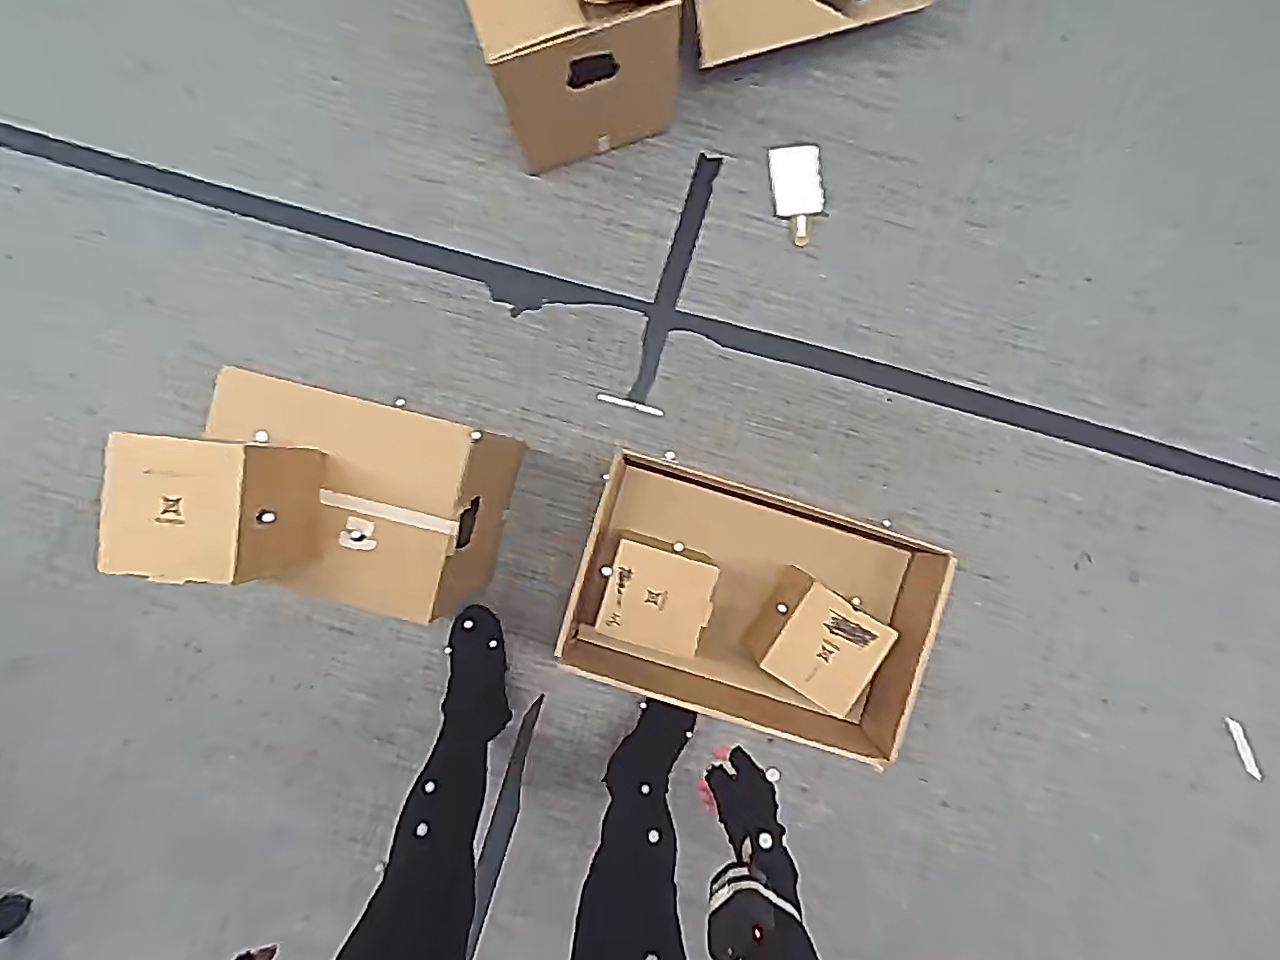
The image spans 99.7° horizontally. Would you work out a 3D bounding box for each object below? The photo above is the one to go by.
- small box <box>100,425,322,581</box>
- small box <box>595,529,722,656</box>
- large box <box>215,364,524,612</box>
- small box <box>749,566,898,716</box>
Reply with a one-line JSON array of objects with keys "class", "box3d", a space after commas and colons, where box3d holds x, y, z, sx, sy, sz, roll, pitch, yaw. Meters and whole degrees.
[{"class": "small box", "box3d": [-0.560, 0.027, 0.729, 0.168, 0.176, 0.179, 6, 91, 0]}, {"class": "small box", "box3d": [0.029, 0.193, 0.978, 0.179, 0.176, 0.168, 17, 89, -1]}, {"class": "large box", "box3d": [-0.466, 0.011, 0.970, 0.408, 0.320, 0.320, 13, 92, 0]}, {"class": "small box", "box3d": [0.316, 0.276, 0.976, 0.168, 0.176, 0.179, 34, 92, 2]}]
